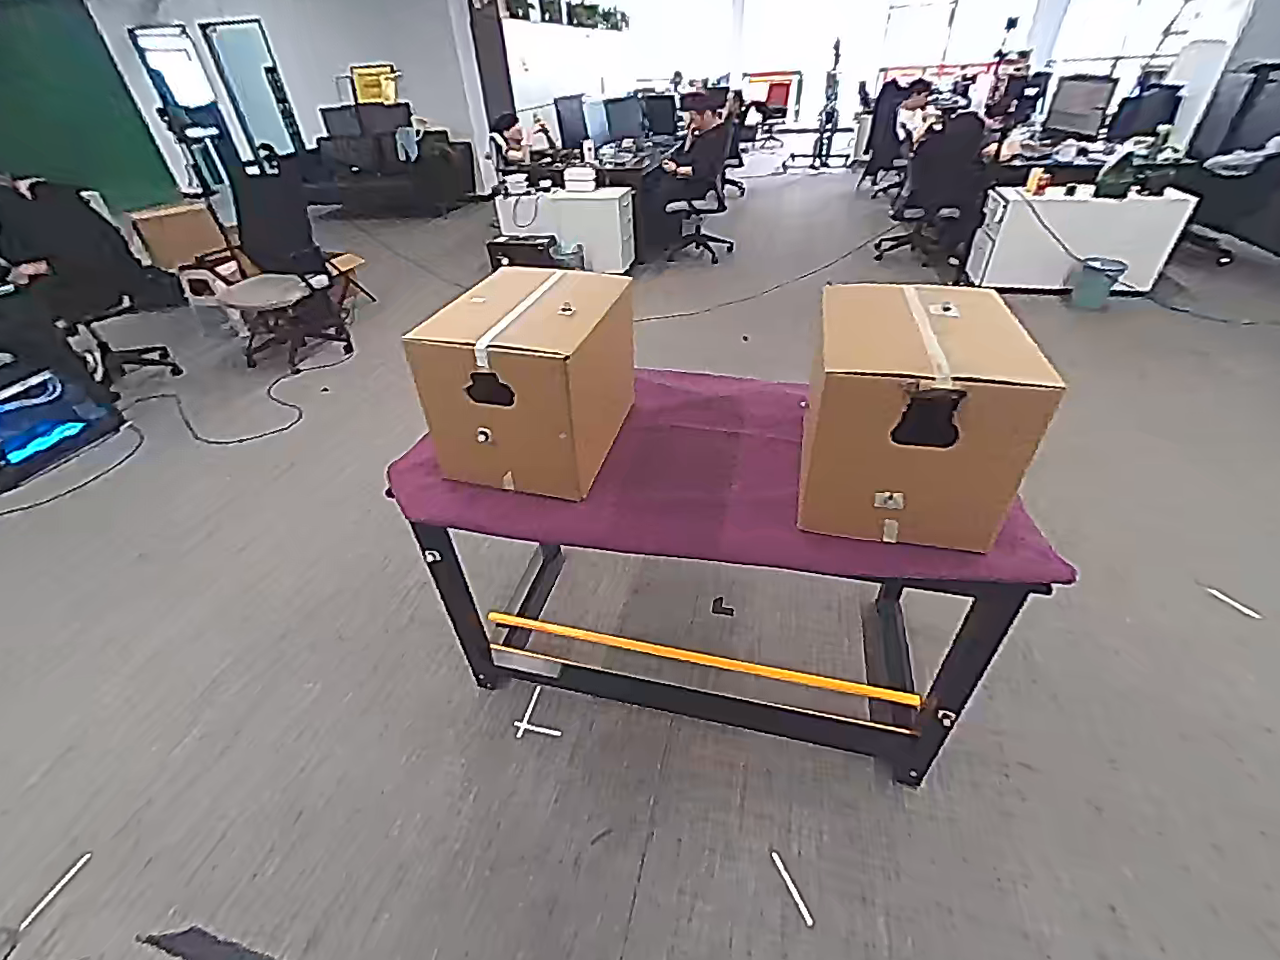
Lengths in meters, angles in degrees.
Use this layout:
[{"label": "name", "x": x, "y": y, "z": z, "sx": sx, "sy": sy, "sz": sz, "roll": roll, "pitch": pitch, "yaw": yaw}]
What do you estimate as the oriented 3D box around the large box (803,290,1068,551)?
[{"label": "large box", "x": 0.470, "y": -0.125, "z": 0.982, "sx": 0.320, "sy": 0.320, "sz": 0.408, "roll": 7, "pitch": 37, "yaw": 12}]
